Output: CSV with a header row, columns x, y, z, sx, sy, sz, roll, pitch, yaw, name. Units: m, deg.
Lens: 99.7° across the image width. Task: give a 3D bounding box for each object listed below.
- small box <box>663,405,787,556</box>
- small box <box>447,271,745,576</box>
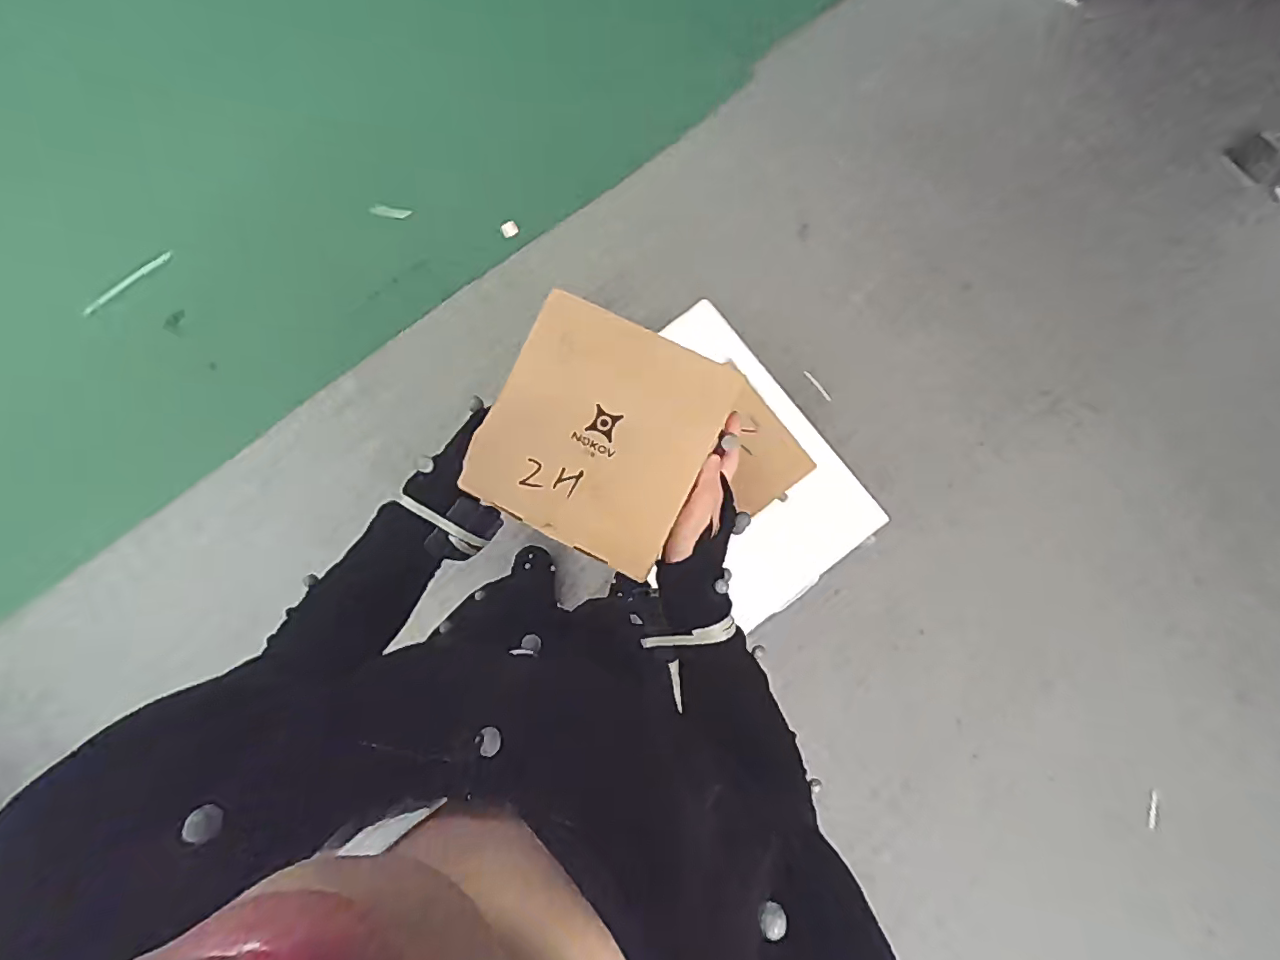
x,y,z,sx,sy,sz,roll,pitch,yaw,name
0.091,0.001,0.841,0.179,0.176,0.168,-37,84,-4,small box
-0.029,-0.041,0.471,0.168,0.176,0.179,26,90,5,small box
